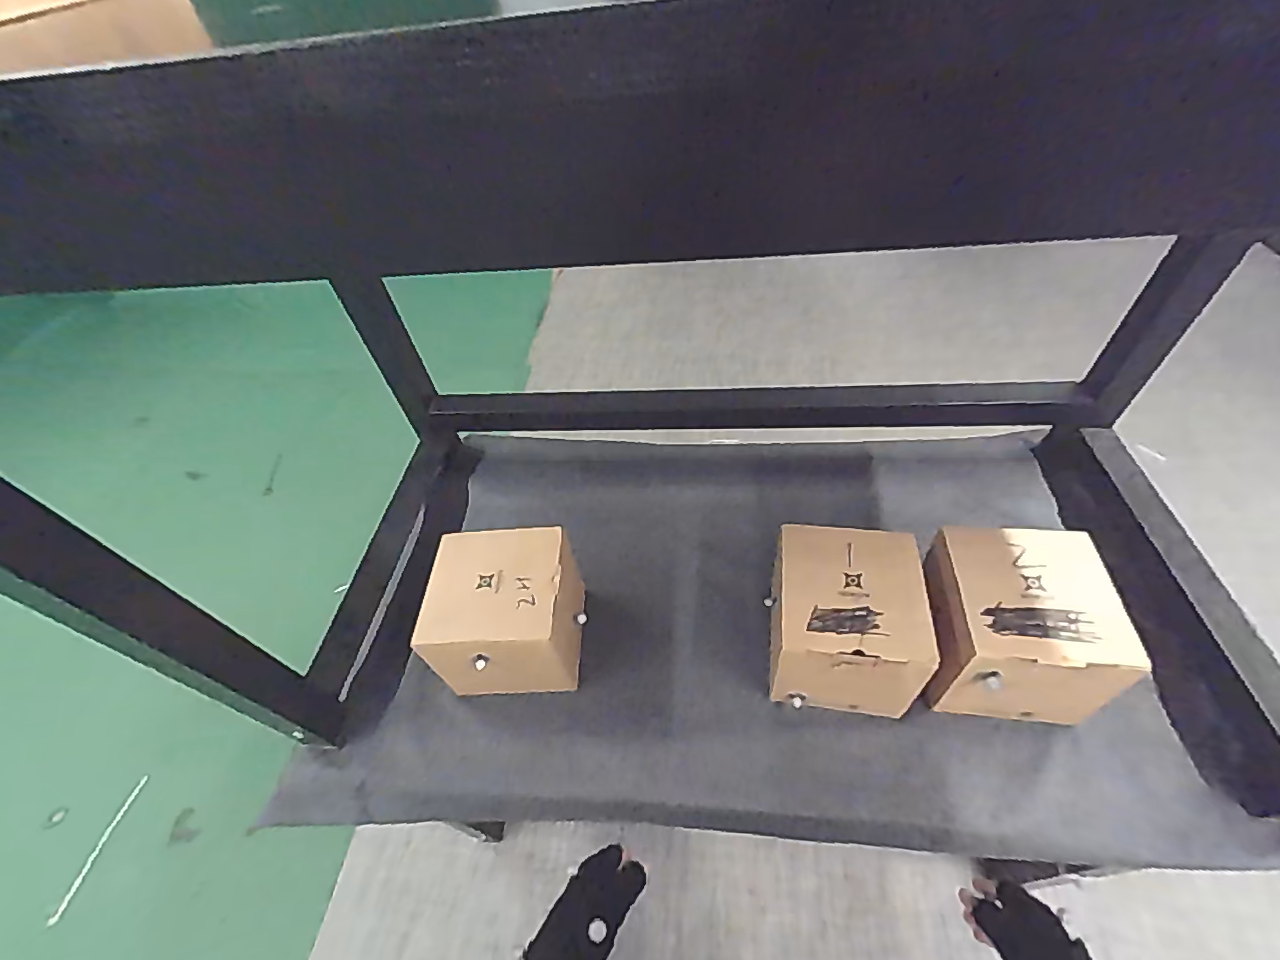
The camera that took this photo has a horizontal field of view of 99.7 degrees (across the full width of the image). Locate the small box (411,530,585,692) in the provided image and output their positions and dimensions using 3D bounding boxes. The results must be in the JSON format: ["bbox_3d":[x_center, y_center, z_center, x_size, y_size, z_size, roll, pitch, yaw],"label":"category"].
[{"bbox_3d":[-0.184,0.188,0.760,0.179,0.176,0.168,-3,49,5],"label":"small box"}]
